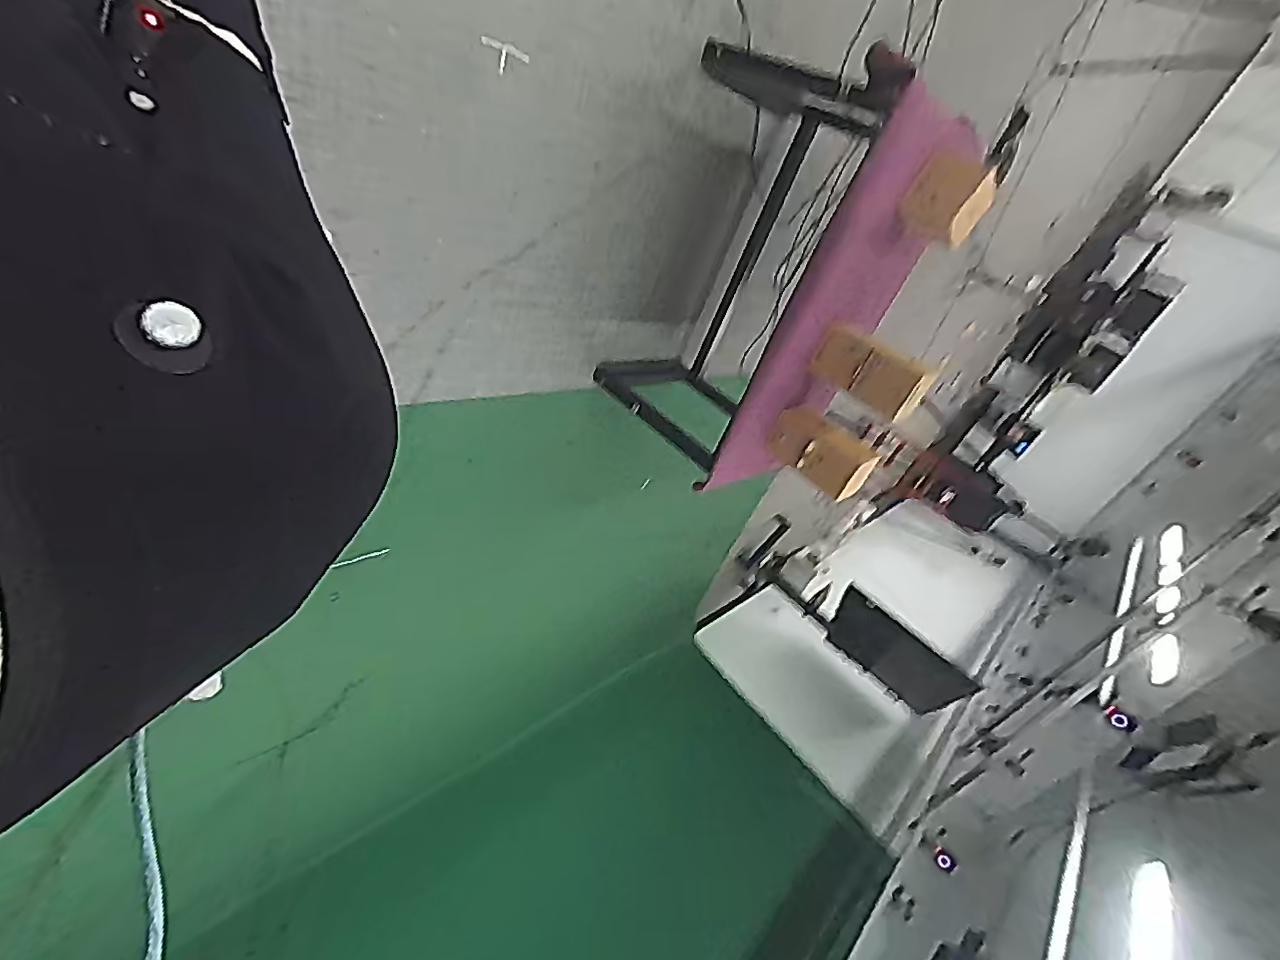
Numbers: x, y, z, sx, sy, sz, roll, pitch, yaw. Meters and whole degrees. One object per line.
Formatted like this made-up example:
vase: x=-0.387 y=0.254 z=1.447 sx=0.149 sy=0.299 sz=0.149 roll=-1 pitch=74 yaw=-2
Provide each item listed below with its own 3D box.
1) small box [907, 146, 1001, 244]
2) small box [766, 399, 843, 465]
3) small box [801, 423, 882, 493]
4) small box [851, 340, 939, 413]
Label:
small box: x=0.885 y=-0.811 z=1.531 sx=0.168 sy=0.176 sz=0.179 roll=-55 pitch=151 yaw=16
small box: x=0.592 y=-0.182 z=1.962 sx=0.179 sy=0.176 sz=0.168 roll=-18 pitch=139 yaw=-43
small box: x=0.700 y=-0.083 z=1.890 sx=0.179 sy=0.176 sz=0.168 roll=-17 pitch=139 yaw=-43
small box: x=0.800 y=-0.332 z=1.708 sx=0.179 sy=0.176 sz=0.168 roll=-17 pitch=140 yaw=-46
